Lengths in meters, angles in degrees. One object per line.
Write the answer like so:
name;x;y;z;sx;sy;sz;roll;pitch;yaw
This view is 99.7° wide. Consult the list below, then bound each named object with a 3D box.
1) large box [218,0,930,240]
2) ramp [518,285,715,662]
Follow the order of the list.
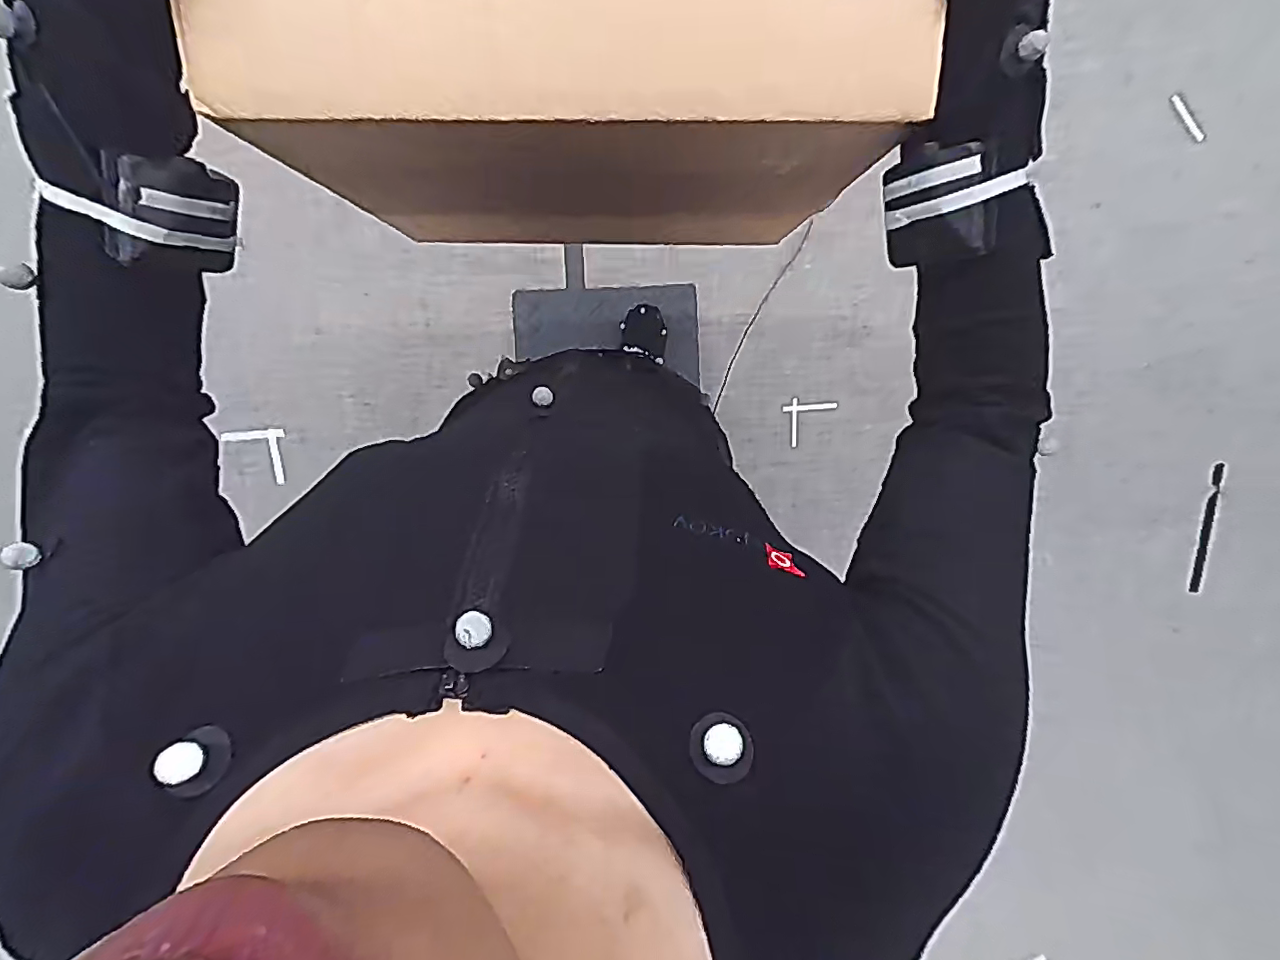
large box;-0.041;-0.393;0.428;0.408;0.320;0.320;-1;102;-2
ramp;-0.064;-0.016;1.463;0.509;0.206;0.991;-4;101;1
